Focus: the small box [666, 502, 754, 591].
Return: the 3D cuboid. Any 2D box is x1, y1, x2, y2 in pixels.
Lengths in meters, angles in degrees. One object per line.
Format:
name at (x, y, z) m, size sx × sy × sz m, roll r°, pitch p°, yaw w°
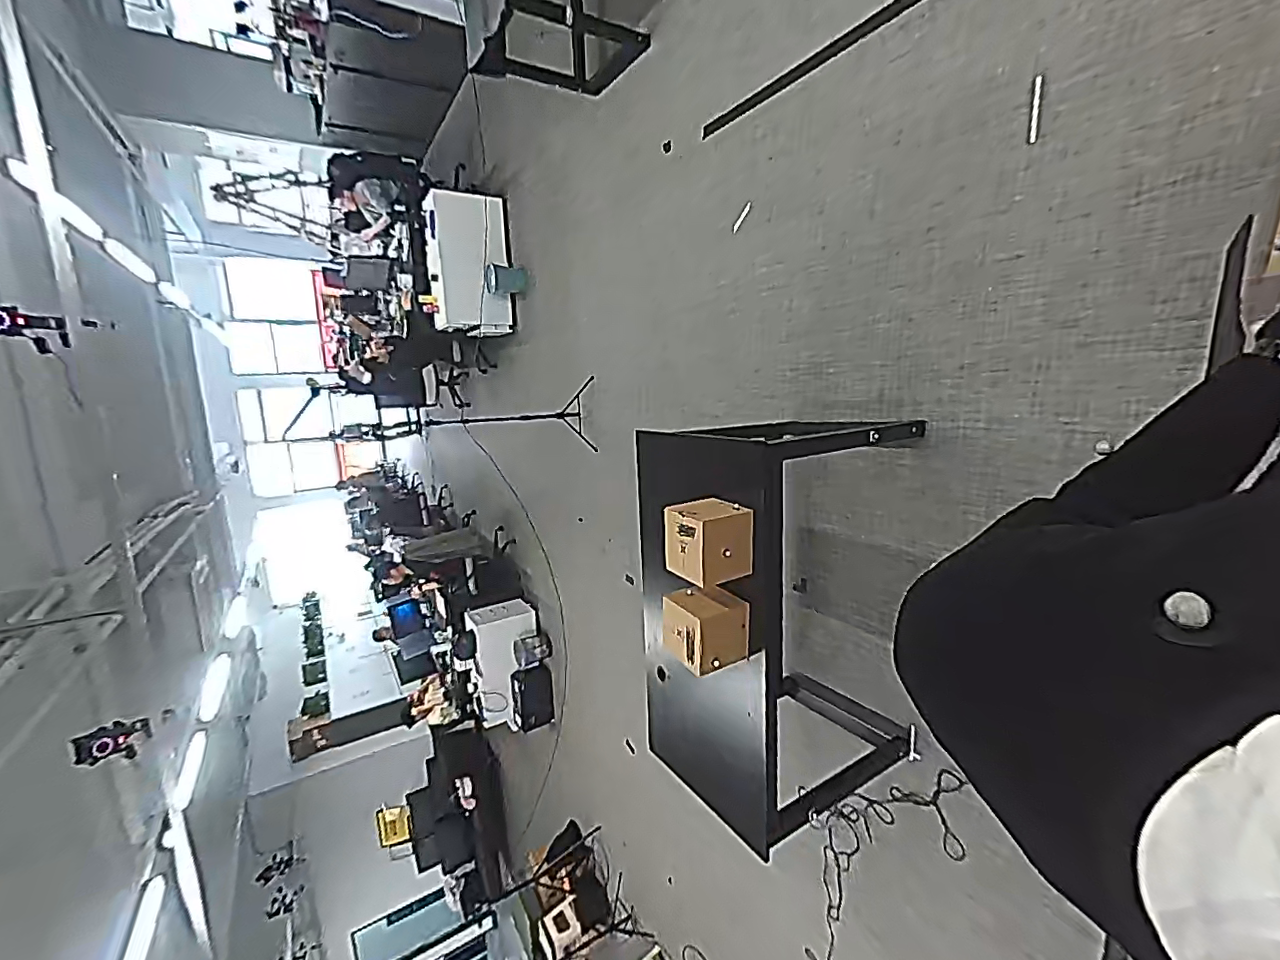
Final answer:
small box at (0.184, 0.165, 1.422) m, size 0.168 × 0.176 × 0.179 m, roll 18°, pitch 114°, yaw 57°
